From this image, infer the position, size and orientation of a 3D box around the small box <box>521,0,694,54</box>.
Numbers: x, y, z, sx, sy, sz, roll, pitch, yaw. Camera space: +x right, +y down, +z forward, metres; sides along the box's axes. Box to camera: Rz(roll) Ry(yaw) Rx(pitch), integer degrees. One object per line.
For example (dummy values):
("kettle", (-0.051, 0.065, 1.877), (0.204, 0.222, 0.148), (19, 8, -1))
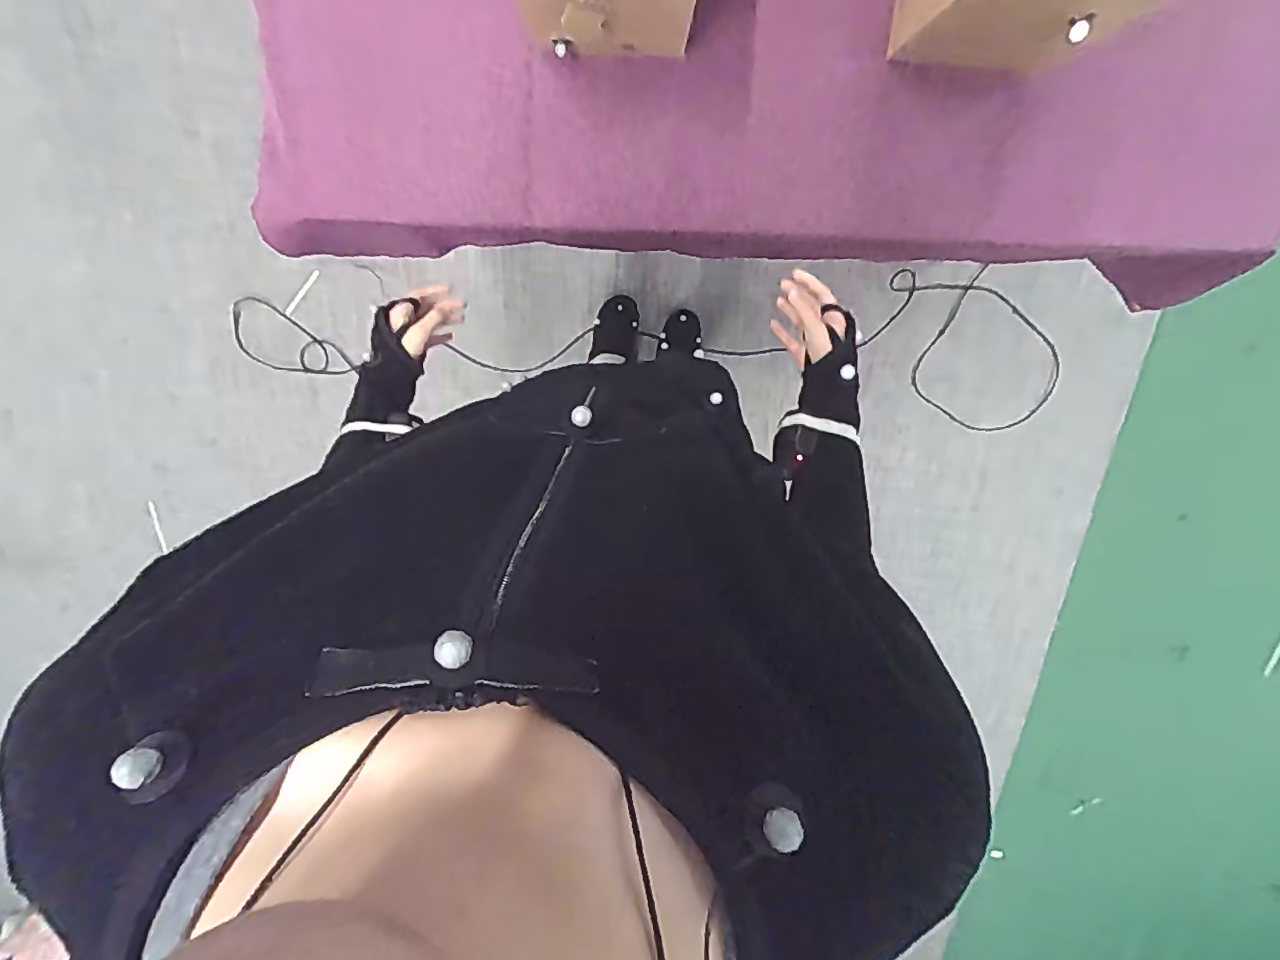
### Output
("small box", (-0.027, -0.522, 0.491), (0.168, 0.176, 0.179), (1, 110, -2))

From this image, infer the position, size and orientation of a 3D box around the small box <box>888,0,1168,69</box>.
("small box", (0.365, -0.510, 0.501), (0.179, 0.176, 0.168), (2, 110, -2))

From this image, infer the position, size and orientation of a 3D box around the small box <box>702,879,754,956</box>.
("small box", (0.336, 1.694, 2.095), (0.168, 0.176, 0.179), (1, 109, -1))
